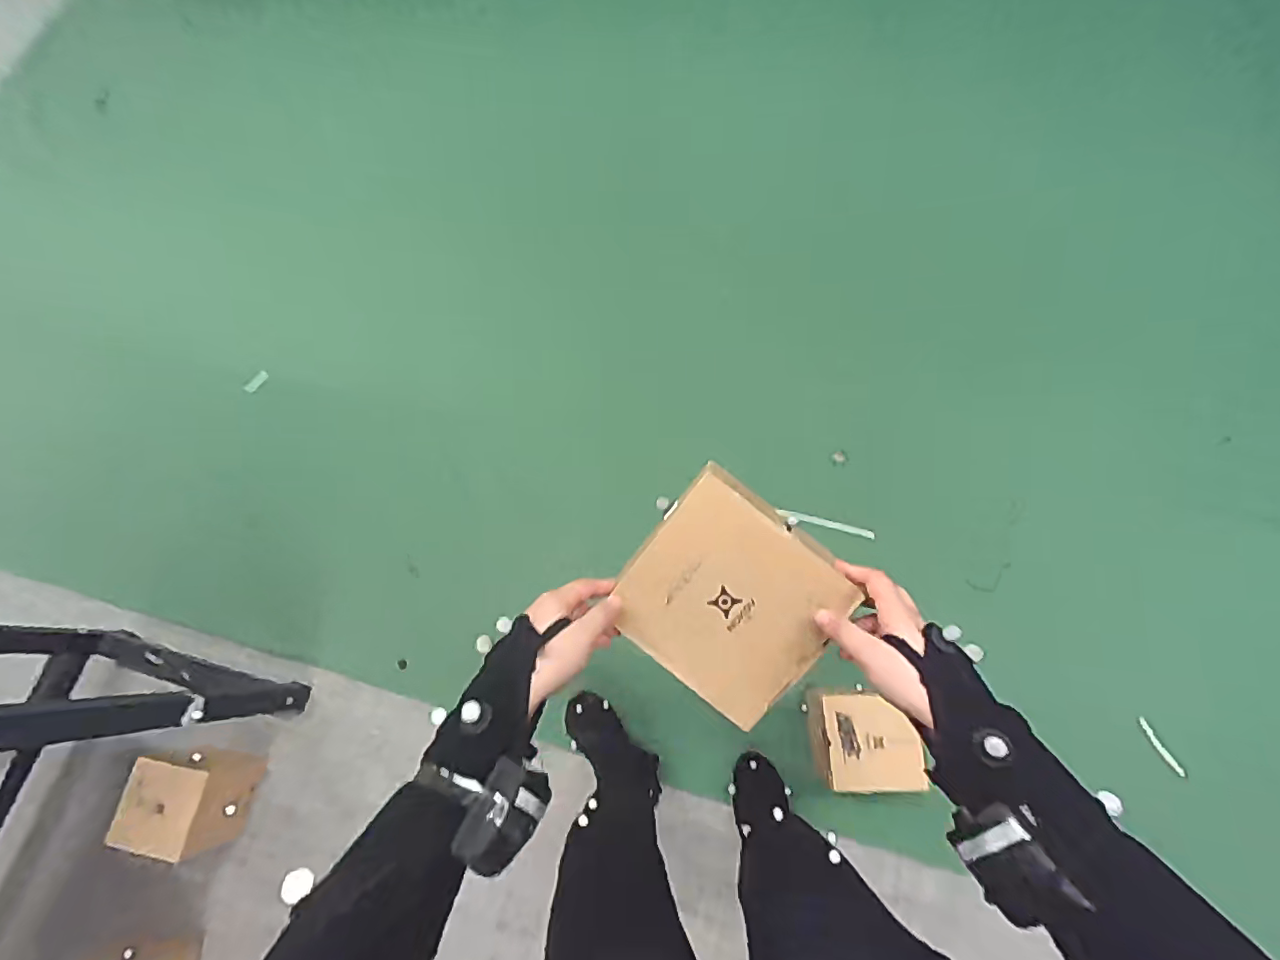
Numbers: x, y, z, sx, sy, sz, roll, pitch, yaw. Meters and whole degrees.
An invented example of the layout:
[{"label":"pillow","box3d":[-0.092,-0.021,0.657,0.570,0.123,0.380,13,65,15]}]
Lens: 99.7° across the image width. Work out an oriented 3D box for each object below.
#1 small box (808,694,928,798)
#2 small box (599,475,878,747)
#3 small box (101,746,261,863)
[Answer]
[{"label":"small box","box3d":[0.443,0.526,1.085,0.179,0.176,0.168,-2,72,4]},{"label":"small box","box3d":[0.090,0.108,0.533,0.179,0.176,0.168,38,99,3]},{"label":"small box","box3d":[-0.978,0.690,1.172,0.179,0.176,0.168,8,73,8]}]
